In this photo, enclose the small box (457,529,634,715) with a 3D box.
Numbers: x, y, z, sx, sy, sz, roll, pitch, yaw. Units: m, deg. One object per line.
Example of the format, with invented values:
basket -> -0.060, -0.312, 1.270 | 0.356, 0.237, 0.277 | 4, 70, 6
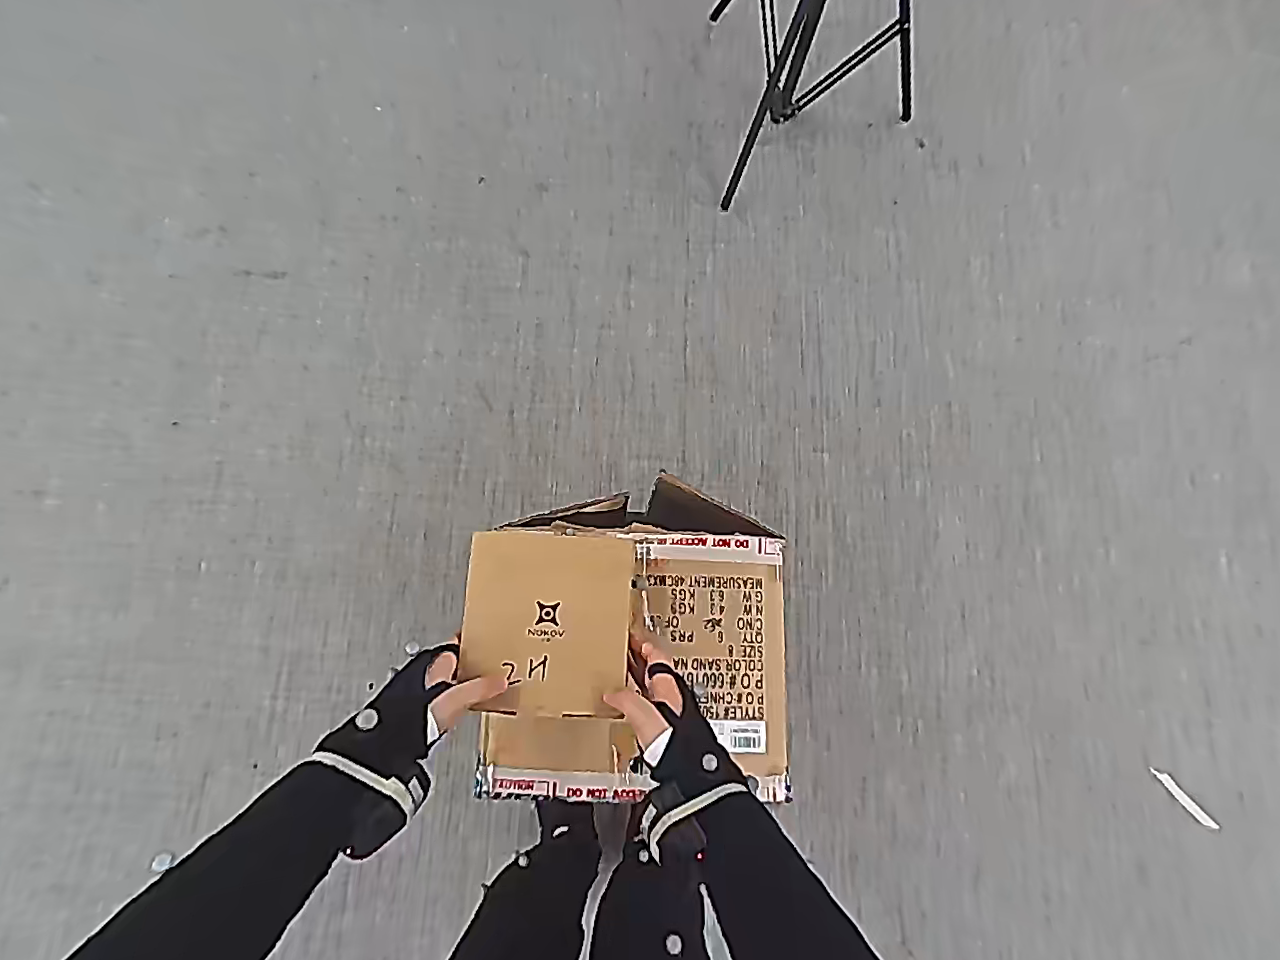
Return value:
small box -> -0.094, 0.155, 0.622 | 0.168, 0.176, 0.179 | 3, 80, 0
